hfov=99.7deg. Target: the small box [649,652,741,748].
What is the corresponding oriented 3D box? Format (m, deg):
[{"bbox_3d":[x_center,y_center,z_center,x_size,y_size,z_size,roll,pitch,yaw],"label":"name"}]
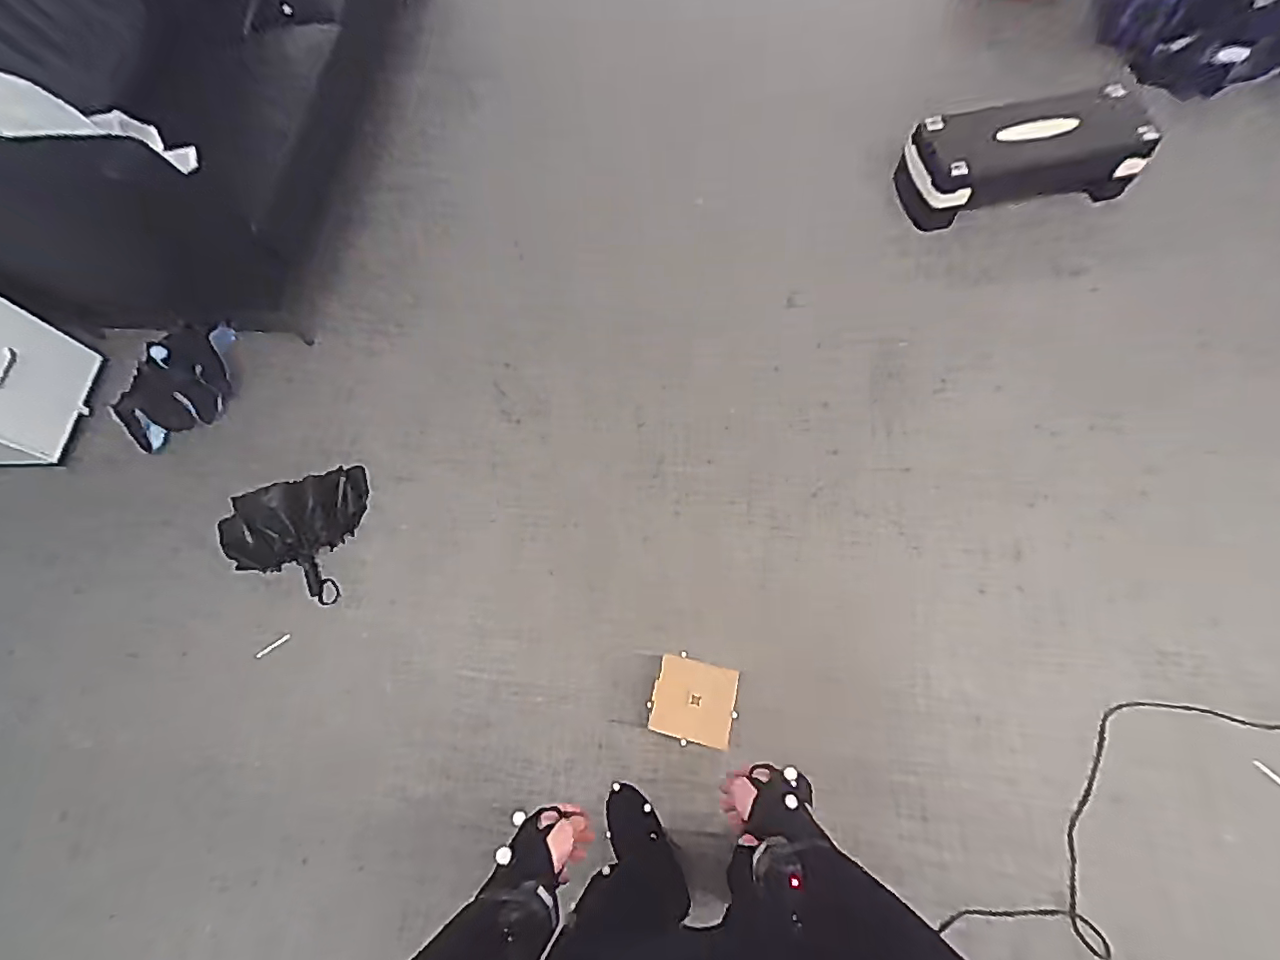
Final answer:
[{"bbox_3d":[0.129,0.507,1.256,0.179,0.176,0.168,11,71,9],"label":"small box"}]
